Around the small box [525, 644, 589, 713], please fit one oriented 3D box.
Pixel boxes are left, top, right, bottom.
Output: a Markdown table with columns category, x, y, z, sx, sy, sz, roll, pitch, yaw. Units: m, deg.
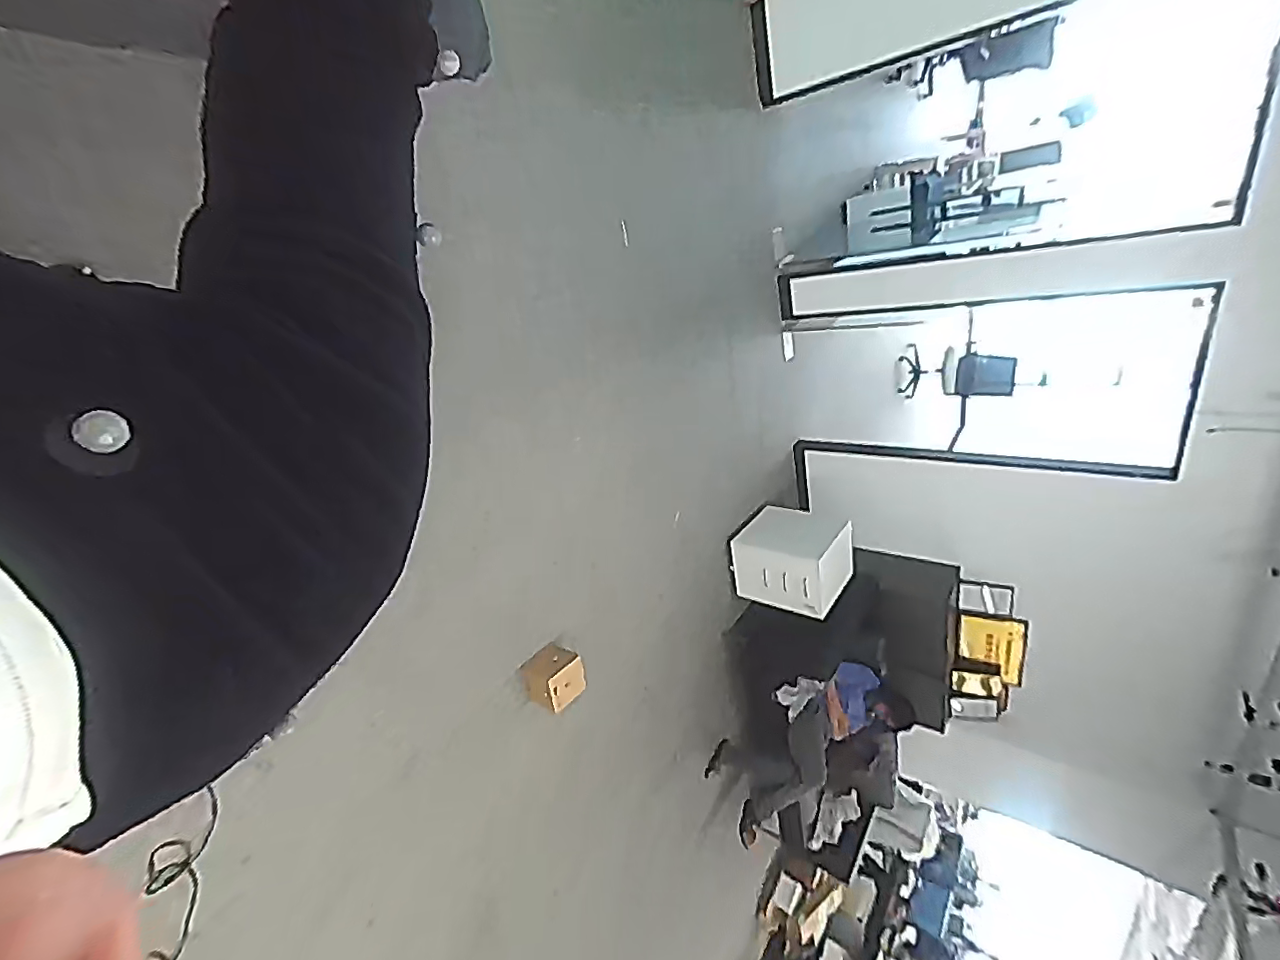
| category | x | y | z | sx | sy | sz | roll | pitch | yaw |
| --- | --- | --- | --- | --- | --- | --- | --- | --- | --- |
| small box | -0.334 | 0.789 | 2.171 | 0.179 | 0.176 | 0.168 | -31 | 120 | -46 |
